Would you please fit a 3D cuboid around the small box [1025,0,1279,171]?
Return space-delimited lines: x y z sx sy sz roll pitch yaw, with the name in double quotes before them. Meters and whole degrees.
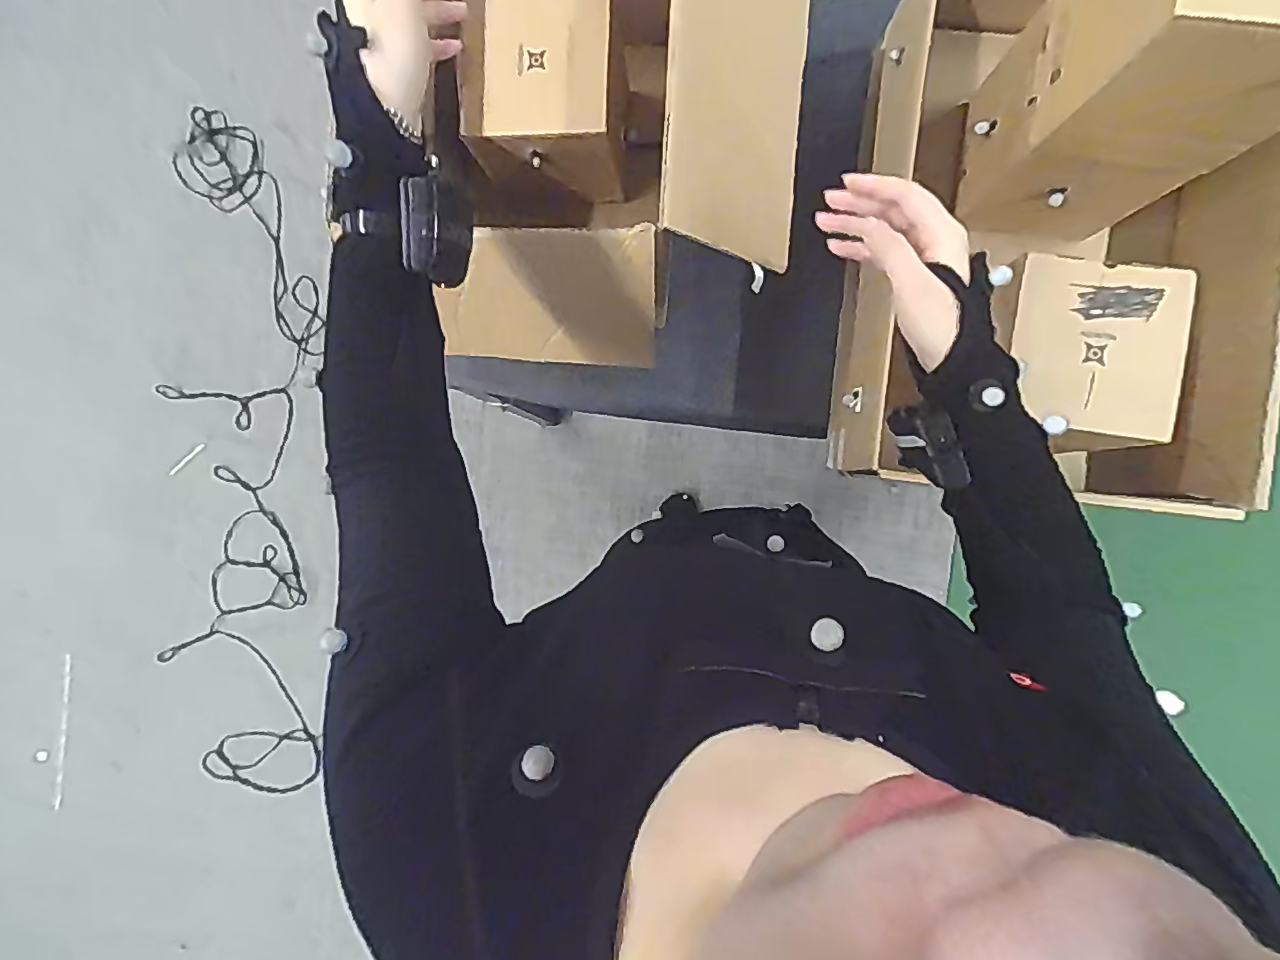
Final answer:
"small box" 0.478 -0.396 0.465 0.179 0.176 0.168 9 92 3
